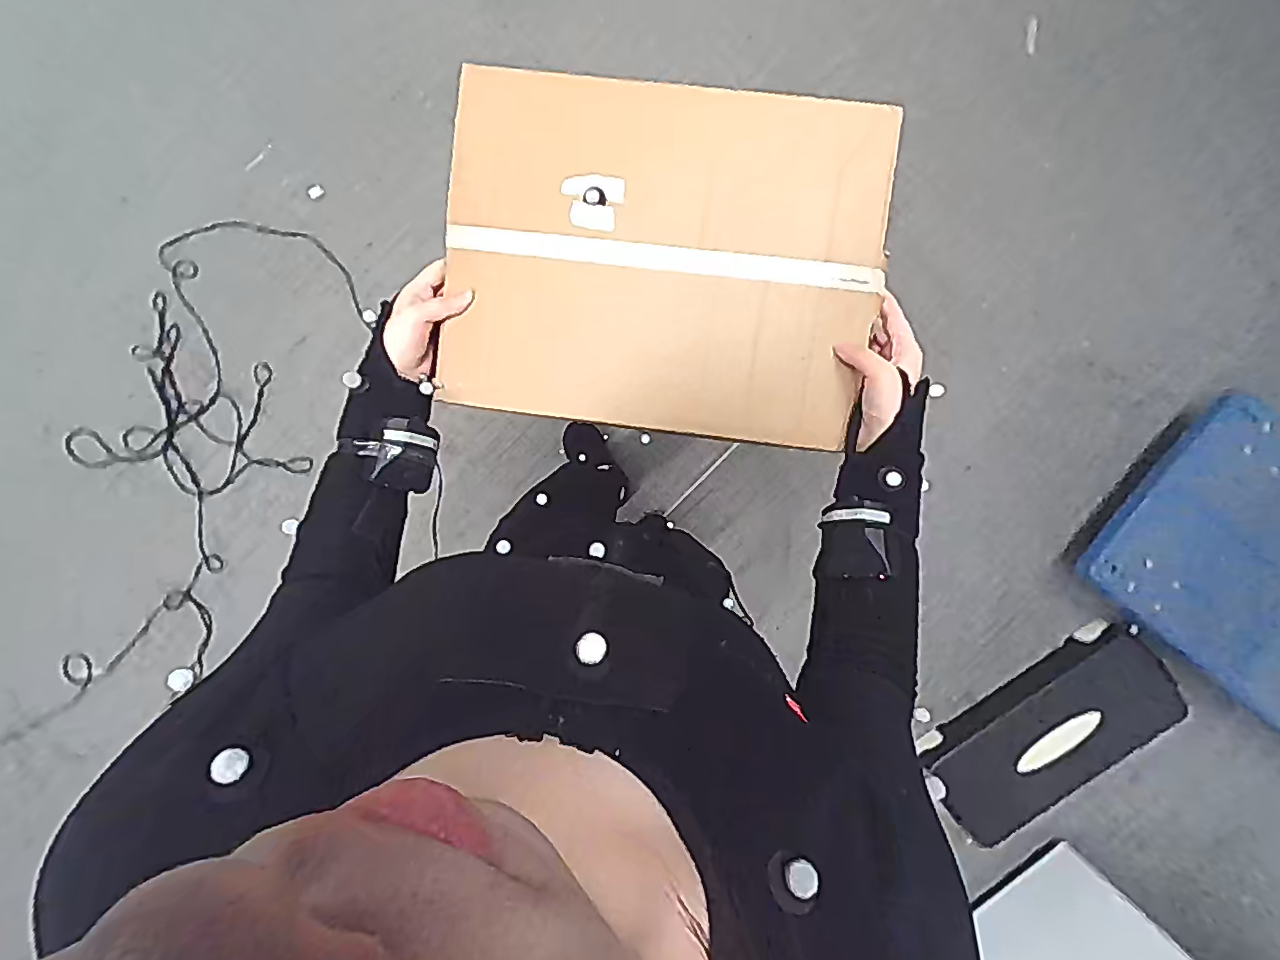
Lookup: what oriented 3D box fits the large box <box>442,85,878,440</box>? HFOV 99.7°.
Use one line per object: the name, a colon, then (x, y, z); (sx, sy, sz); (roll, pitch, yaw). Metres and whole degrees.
large box: (0.021, -0.224, 0.667); (0.408, 0.320, 0.320); (6, 95, 4)
